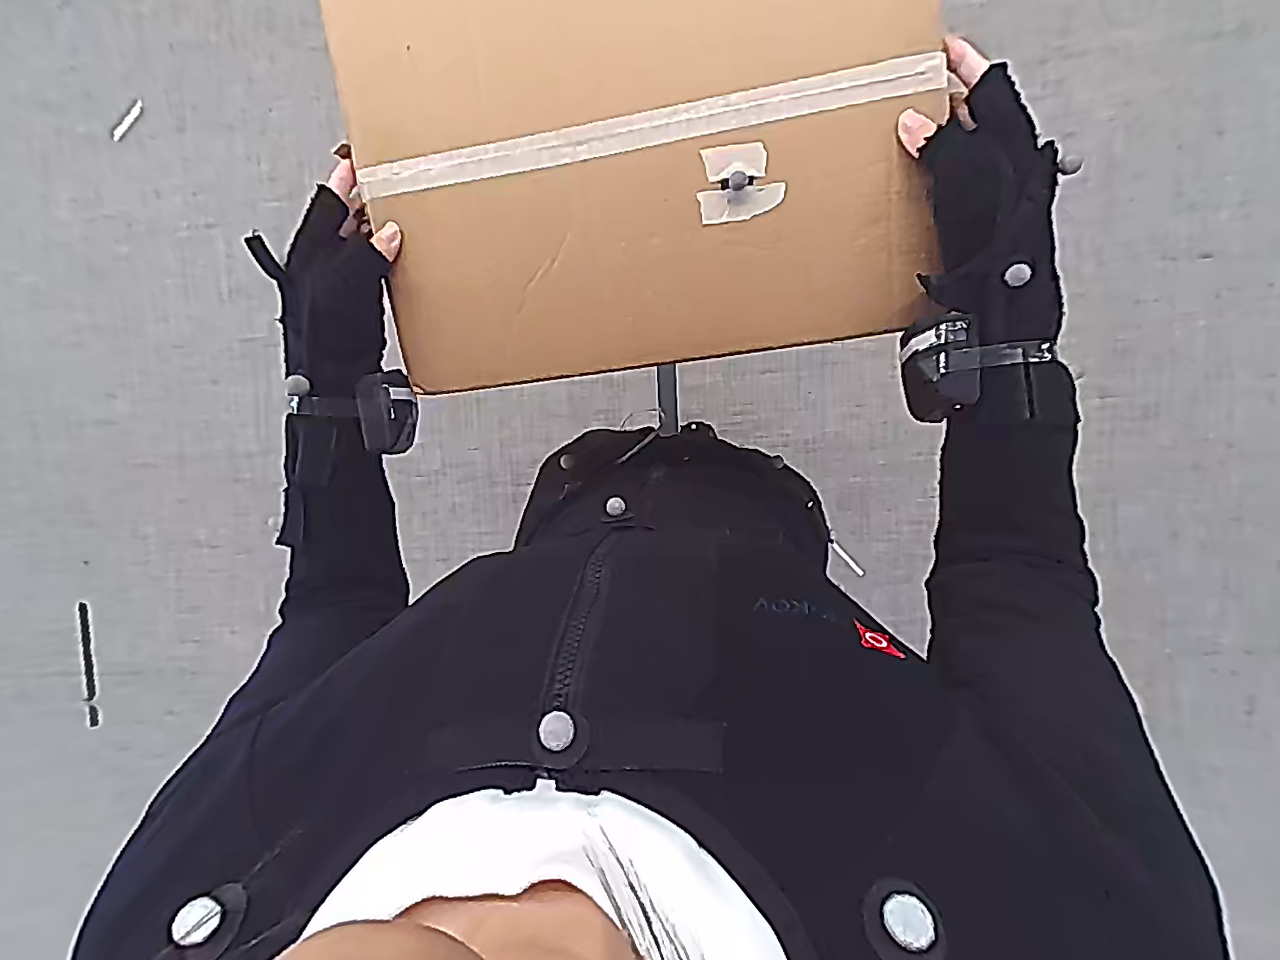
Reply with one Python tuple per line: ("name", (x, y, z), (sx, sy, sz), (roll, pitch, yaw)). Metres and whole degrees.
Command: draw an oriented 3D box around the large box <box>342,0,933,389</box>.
("large box", (0.011, -0.280, 0.534), (0.408, 0.320, 0.320), (-7, 103, 7))
